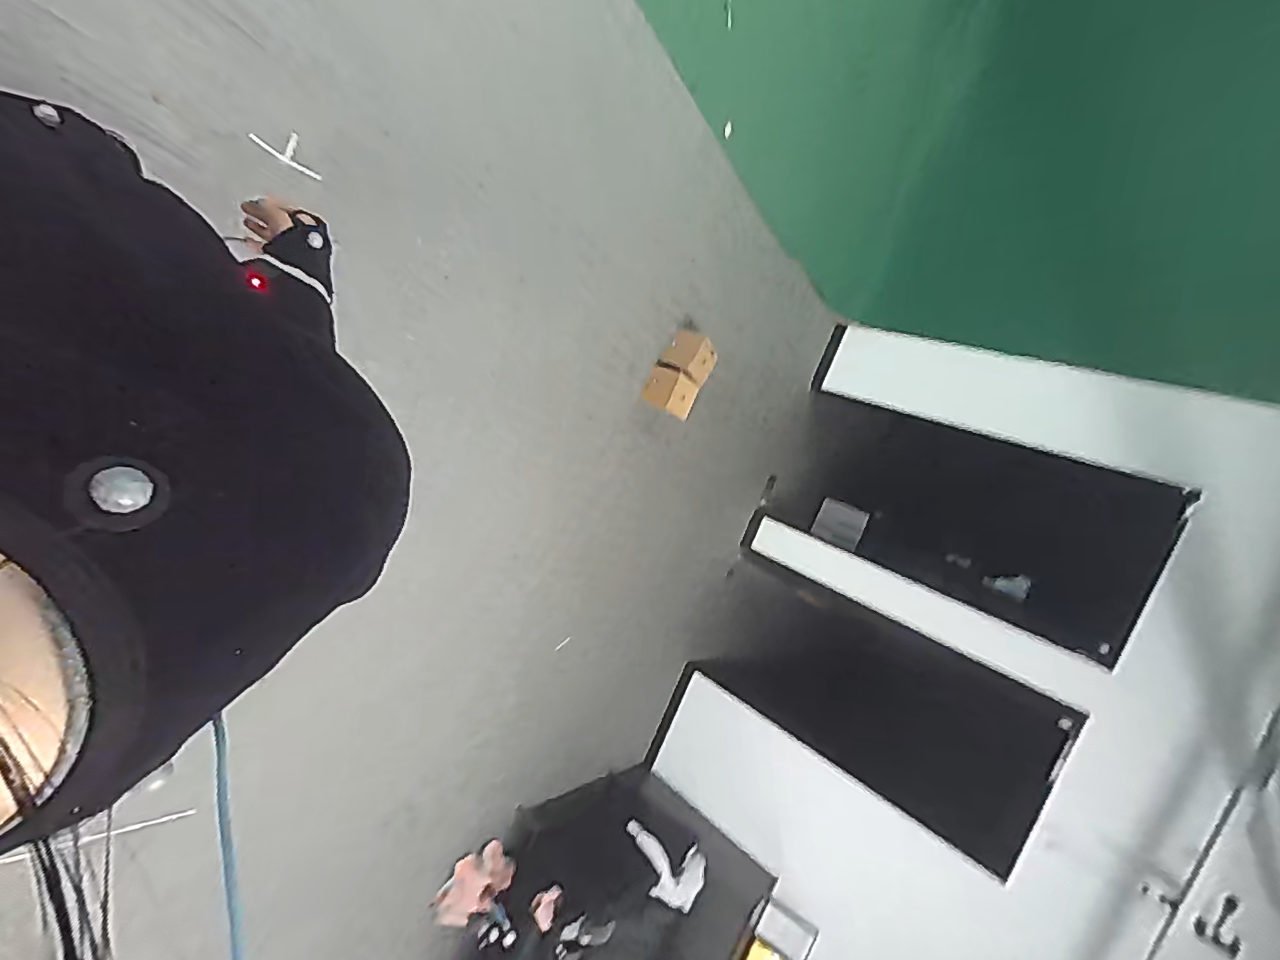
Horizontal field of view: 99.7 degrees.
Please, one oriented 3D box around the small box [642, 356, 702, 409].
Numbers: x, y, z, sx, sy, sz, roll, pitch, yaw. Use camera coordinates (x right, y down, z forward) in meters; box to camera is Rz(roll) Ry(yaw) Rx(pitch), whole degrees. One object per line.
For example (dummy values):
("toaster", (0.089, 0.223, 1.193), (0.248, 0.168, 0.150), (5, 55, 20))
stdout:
("small box", (0.143, -0.438, 2.409), (0.179, 0.176, 0.168), (19, 96, -54))
